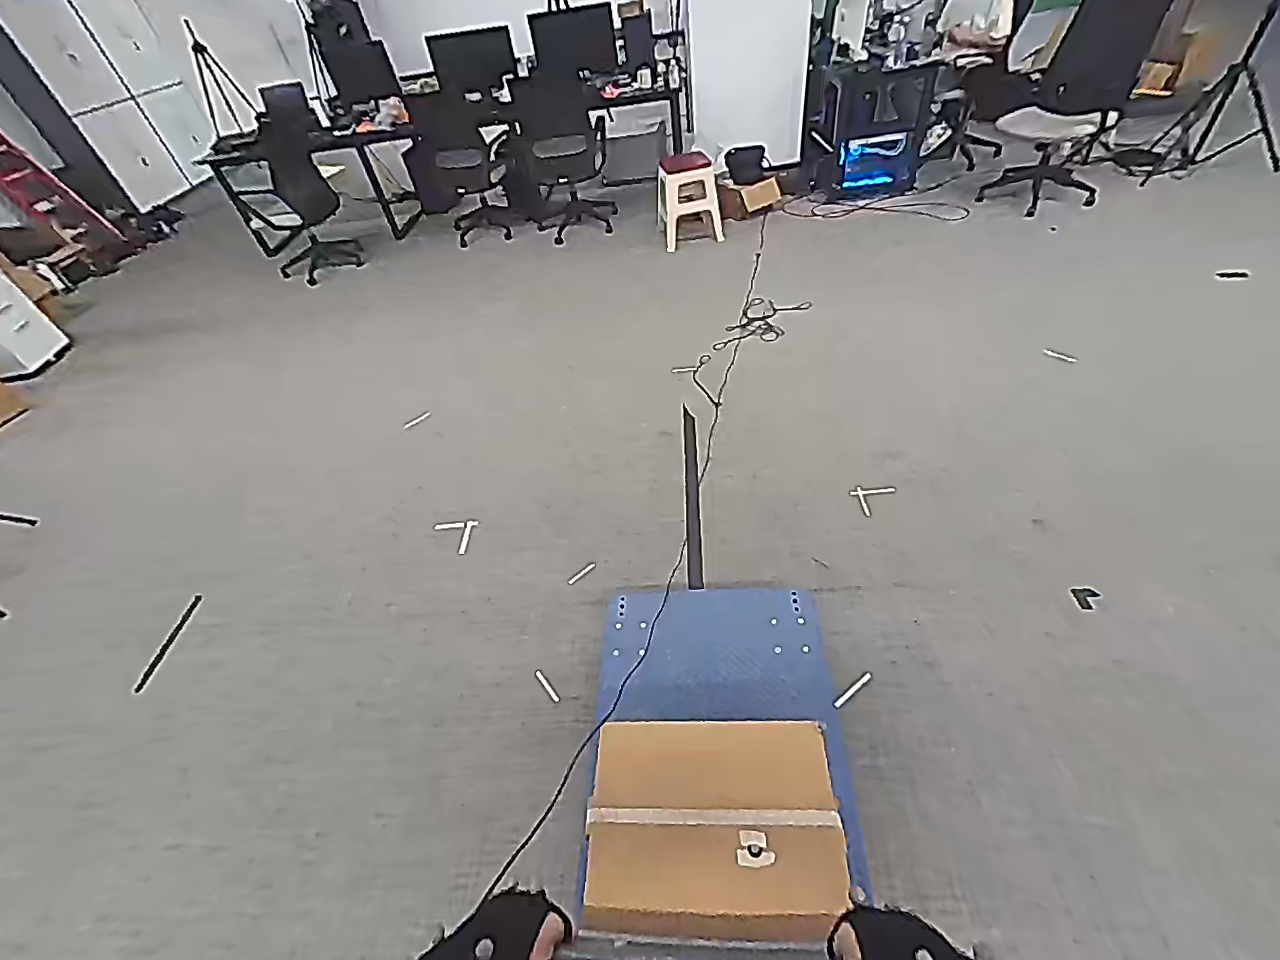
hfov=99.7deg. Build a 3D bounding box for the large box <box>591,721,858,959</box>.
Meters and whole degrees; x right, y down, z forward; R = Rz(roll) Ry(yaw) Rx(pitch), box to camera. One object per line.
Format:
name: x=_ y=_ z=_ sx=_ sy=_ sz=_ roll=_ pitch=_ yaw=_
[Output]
large box: x=0.141 y=0.670 z=1.007 sx=0.408 sy=0.320 sz=0.320 roll=-3 pitch=44 yaw=7
